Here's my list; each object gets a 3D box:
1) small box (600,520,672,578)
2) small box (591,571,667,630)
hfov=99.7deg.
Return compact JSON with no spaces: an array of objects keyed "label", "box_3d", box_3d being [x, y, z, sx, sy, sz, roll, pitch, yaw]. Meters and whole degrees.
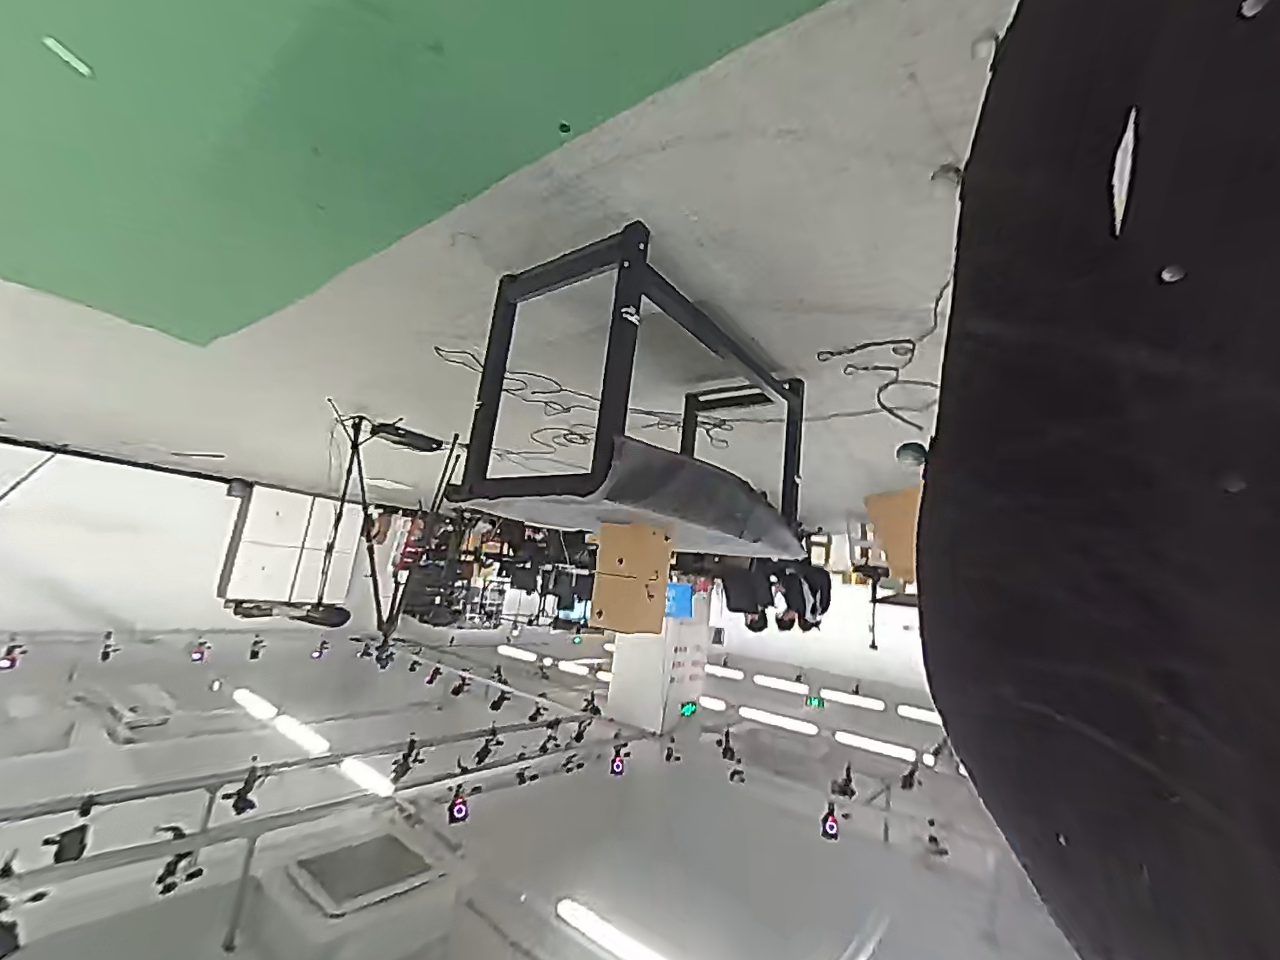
[{"label":"small box","box_3d":[-0.008,0.222,1.752,0.179,0.176,0.168,-1,167,39]},{"label":"small box","box_3d":[-0.031,0.385,1.741,0.179,0.176,0.168,-3,166,40]}]
